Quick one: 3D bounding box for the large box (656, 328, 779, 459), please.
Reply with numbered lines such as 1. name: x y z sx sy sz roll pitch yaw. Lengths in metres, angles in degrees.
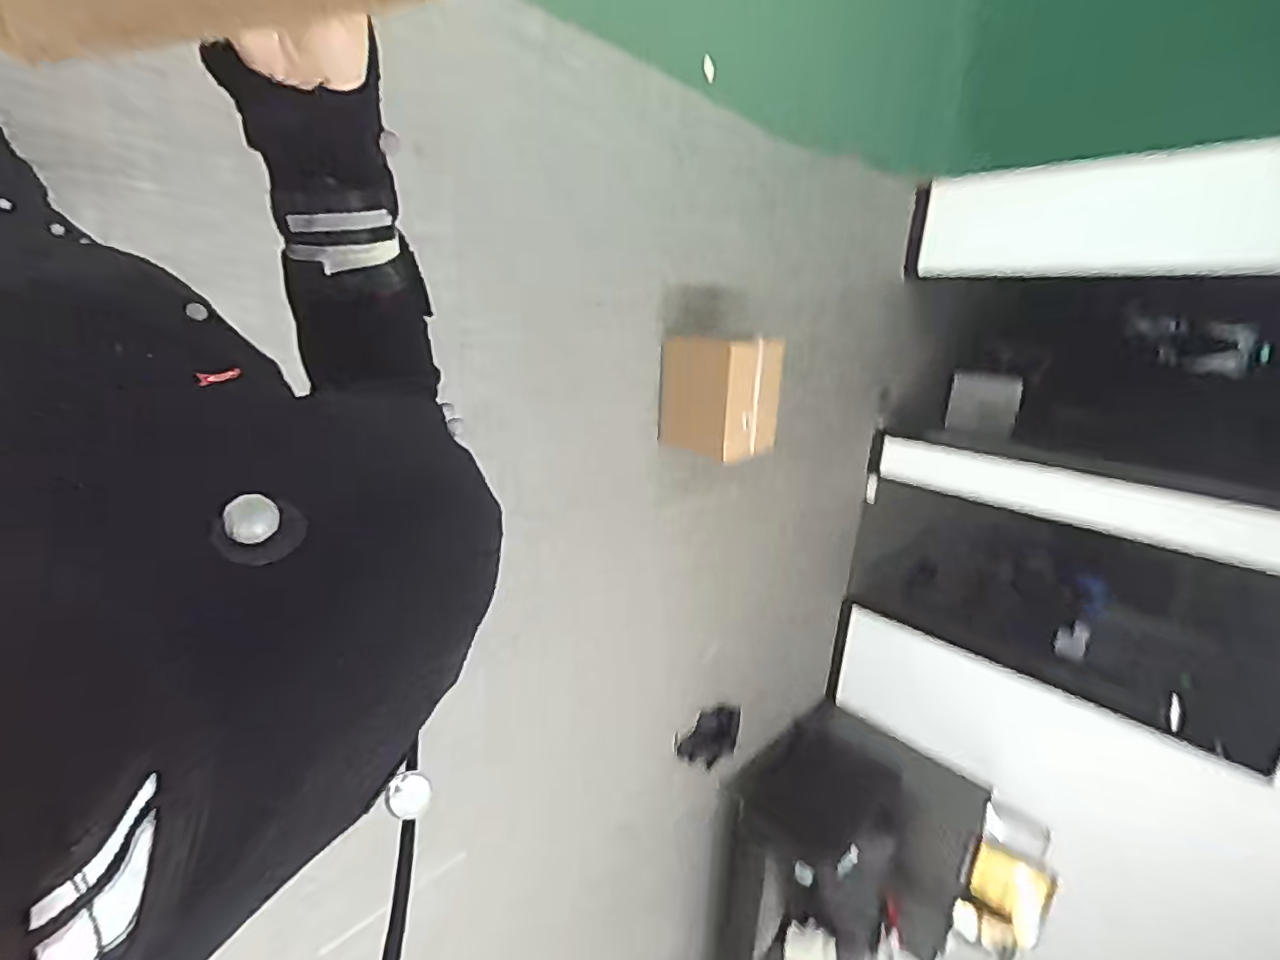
1. large box: 0.274 -0.331 1.971 0.320 0.320 0.408 -17 118 -41
